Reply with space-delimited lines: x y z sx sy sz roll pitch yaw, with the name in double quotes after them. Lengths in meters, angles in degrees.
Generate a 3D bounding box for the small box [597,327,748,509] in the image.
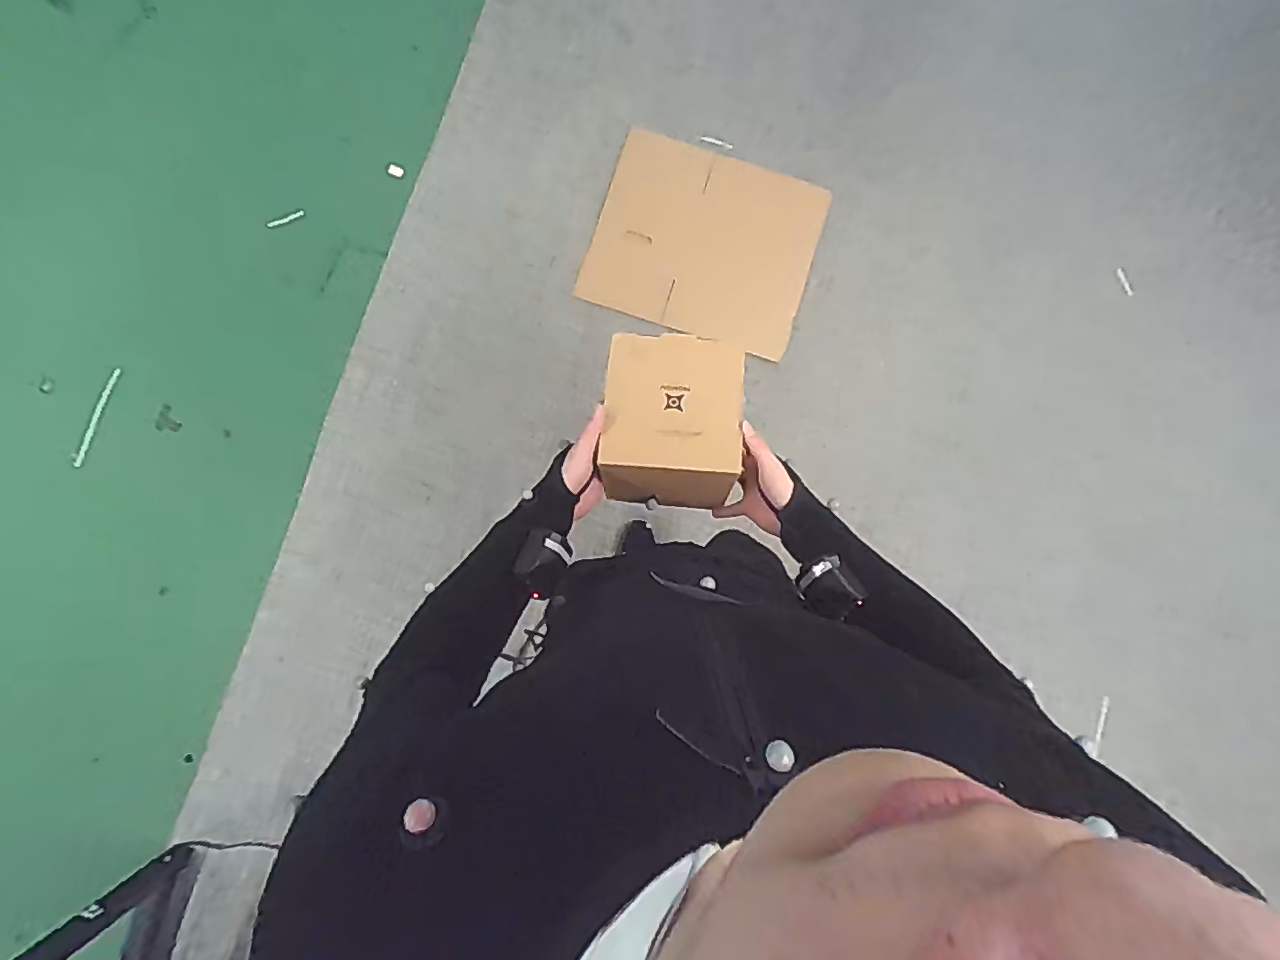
0.041 -0.073 0.704 0.168 0.176 0.179 5 72 3 "small box"
